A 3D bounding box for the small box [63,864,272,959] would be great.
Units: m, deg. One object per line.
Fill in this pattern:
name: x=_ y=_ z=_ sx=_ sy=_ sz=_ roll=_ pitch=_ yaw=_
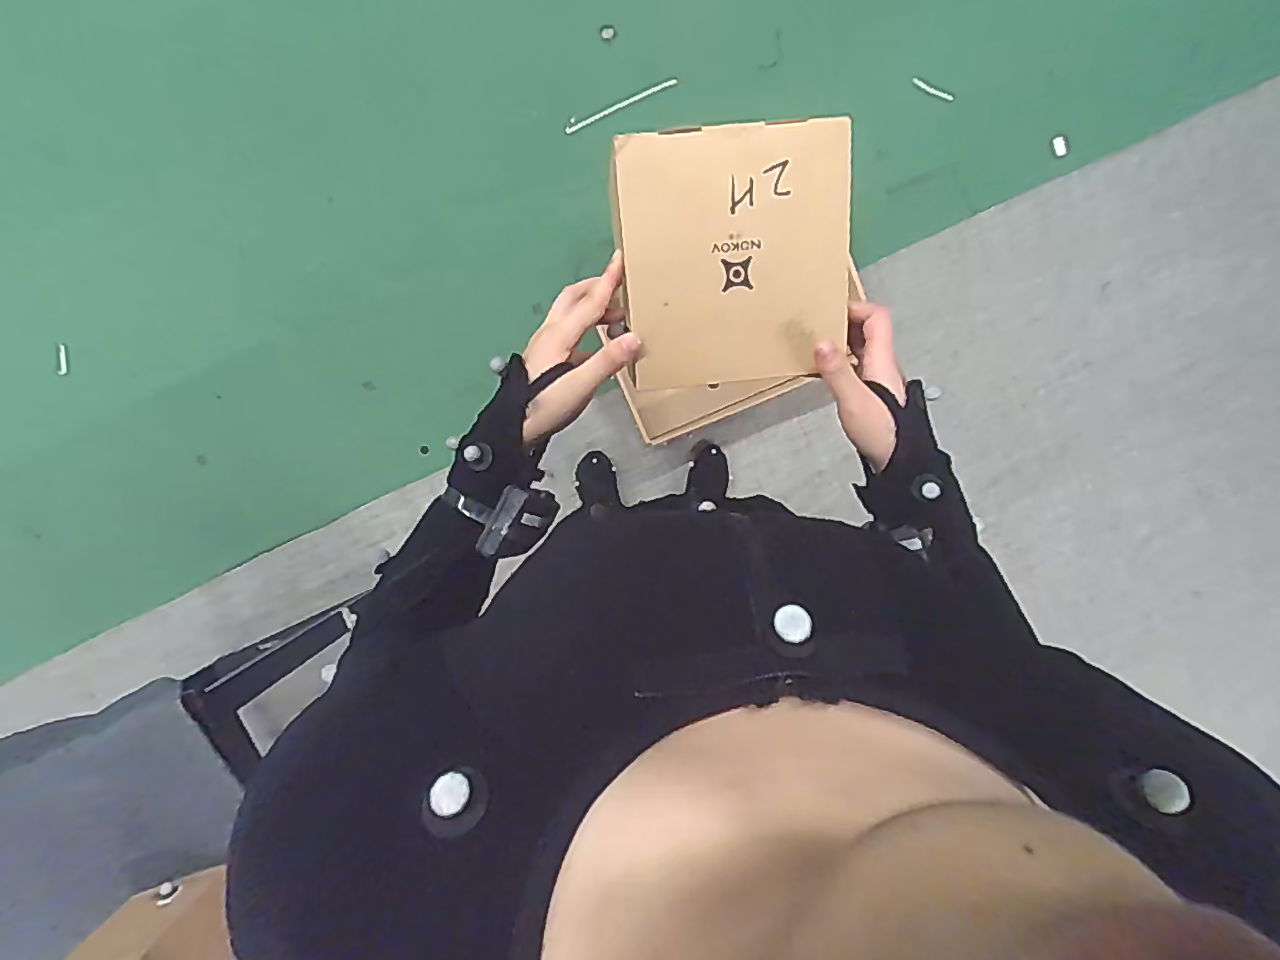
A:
small box: x=-0.624 y=0.655 z=0.696 sx=0.168 sy=0.176 sz=0.179 roll=-21 pitch=94 yaw=0
